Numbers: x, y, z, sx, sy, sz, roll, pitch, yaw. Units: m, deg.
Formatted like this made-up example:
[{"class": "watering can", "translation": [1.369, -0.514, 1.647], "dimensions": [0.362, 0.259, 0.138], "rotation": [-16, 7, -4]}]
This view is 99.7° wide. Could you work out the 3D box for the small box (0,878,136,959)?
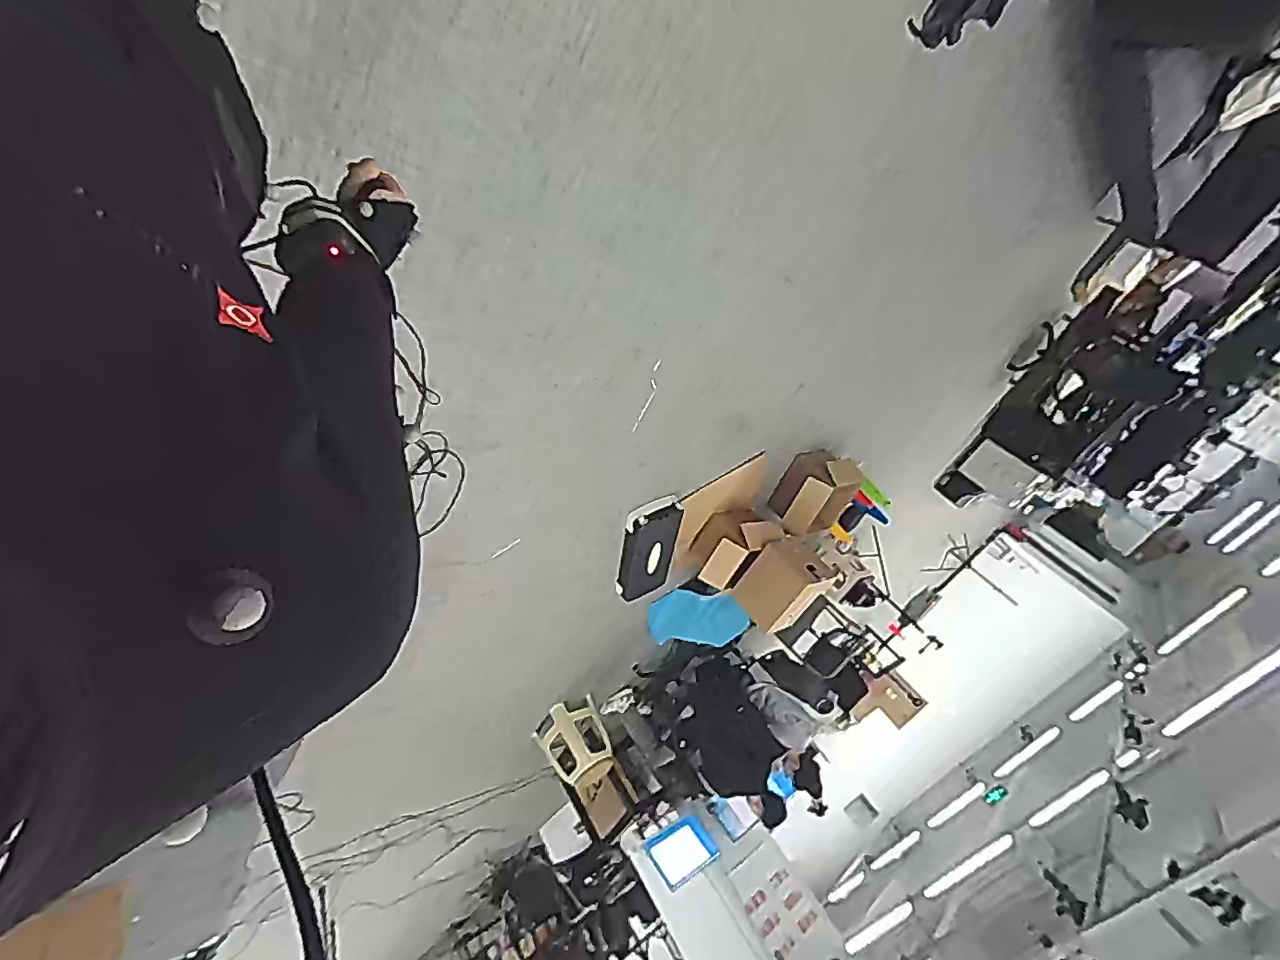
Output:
[{"class": "small box", "translation": [-0.981, 0.836, 0.921], "dimensions": [0.179, 0.176, 0.168], "rotation": [-3, 132, -45]}]
